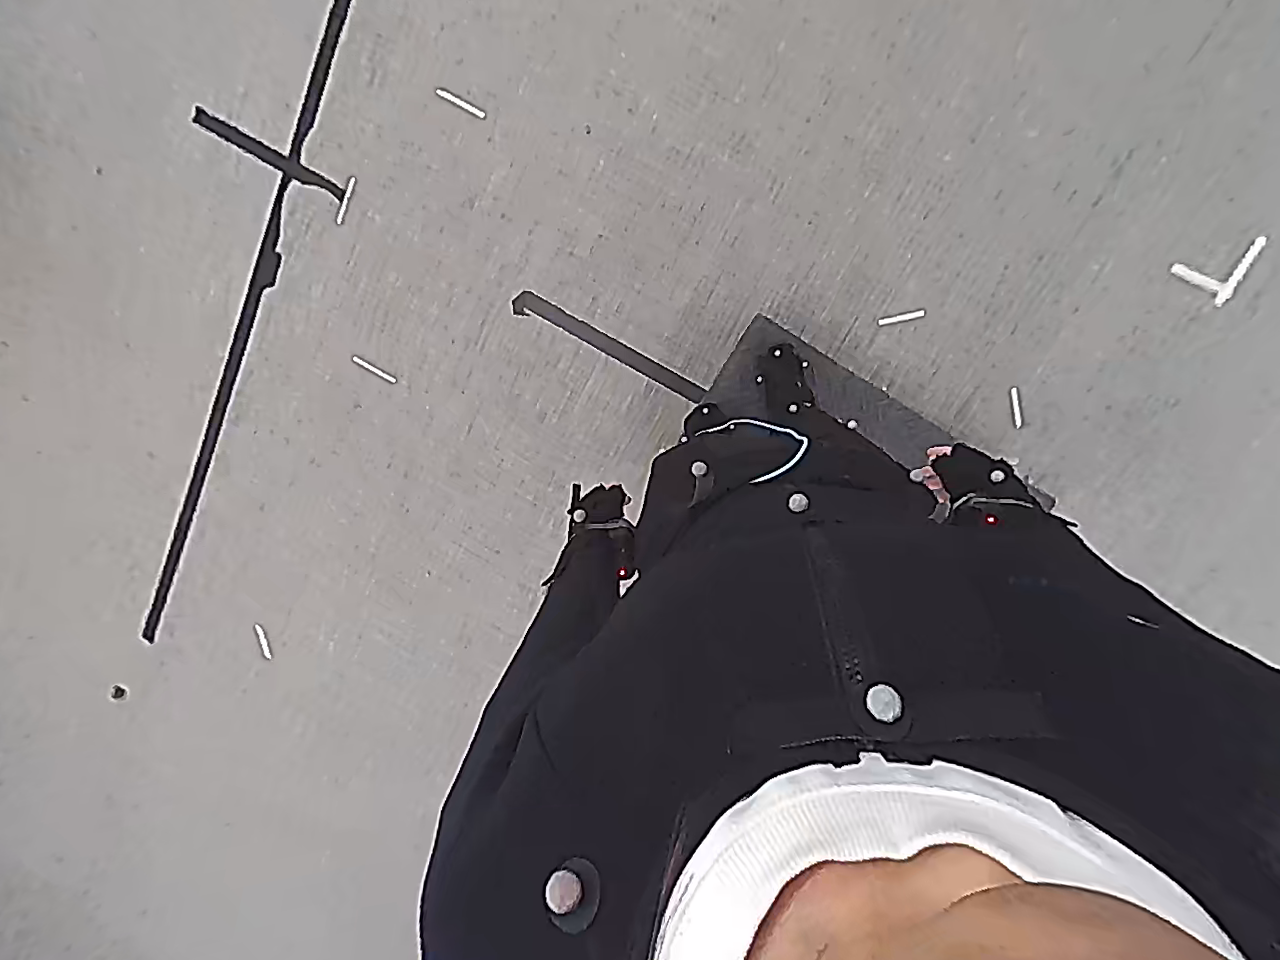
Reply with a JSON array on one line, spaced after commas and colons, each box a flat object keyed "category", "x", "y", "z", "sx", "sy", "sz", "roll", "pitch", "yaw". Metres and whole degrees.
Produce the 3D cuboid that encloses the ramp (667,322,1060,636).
[{"category": "ramp", "x": 0.617, "y": 0.029, "z": 1.474, "sx": 0.991, "sy": 0.206, "sz": 0.509, "roll": 28, "pitch": 101, "yaw": 2}]
